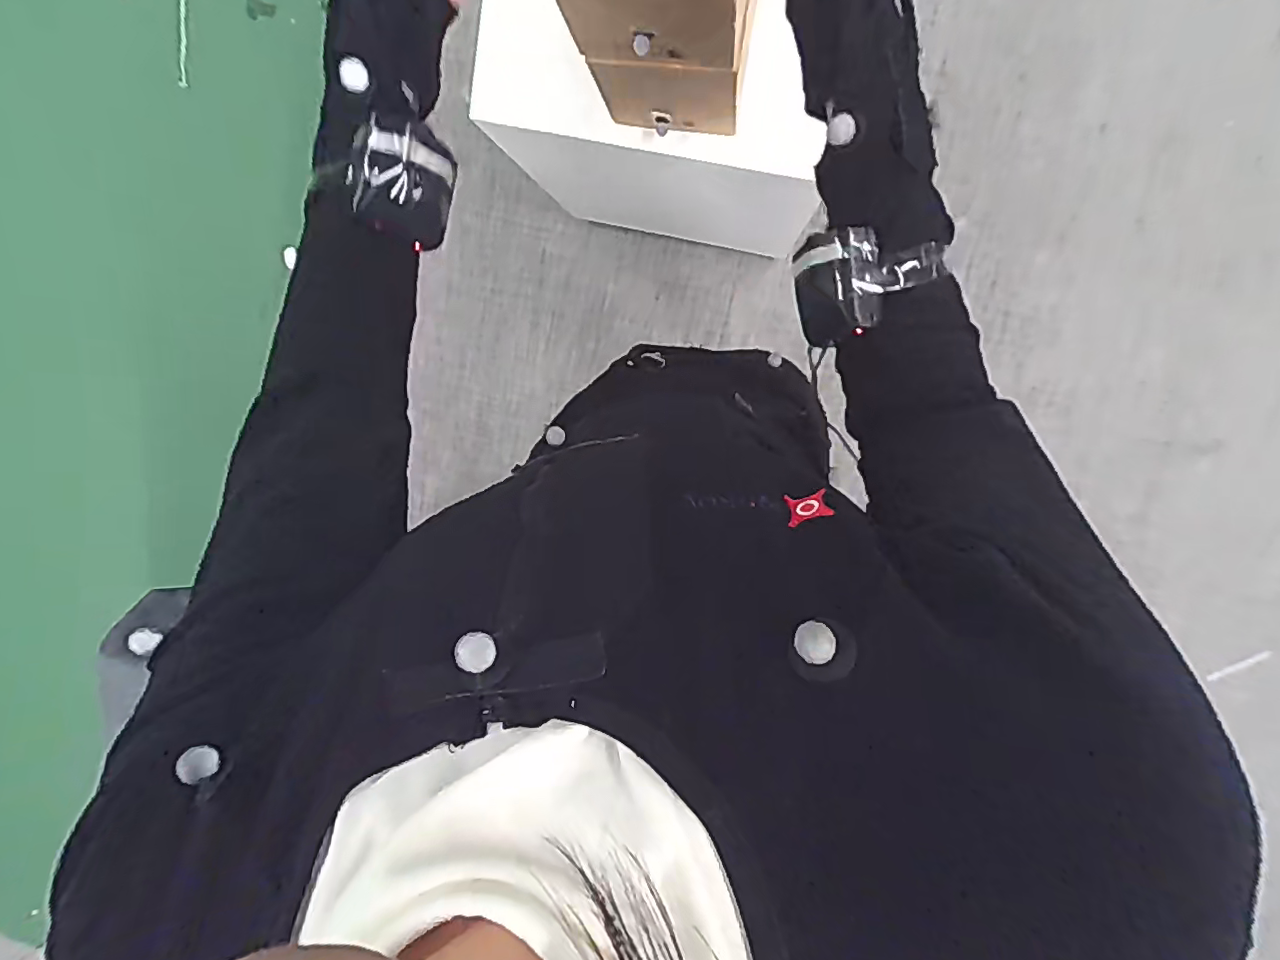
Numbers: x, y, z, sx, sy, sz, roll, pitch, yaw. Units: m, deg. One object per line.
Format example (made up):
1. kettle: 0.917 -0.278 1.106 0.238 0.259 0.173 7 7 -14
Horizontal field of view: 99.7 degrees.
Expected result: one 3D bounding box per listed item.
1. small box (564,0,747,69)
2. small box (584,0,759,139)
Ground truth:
1. small box: 0.015 -0.495 0.457 0.168 0.176 0.179 8 102 8
2. small box: 0.045 -0.523 0.615 0.168 0.176 0.179 10 105 9
